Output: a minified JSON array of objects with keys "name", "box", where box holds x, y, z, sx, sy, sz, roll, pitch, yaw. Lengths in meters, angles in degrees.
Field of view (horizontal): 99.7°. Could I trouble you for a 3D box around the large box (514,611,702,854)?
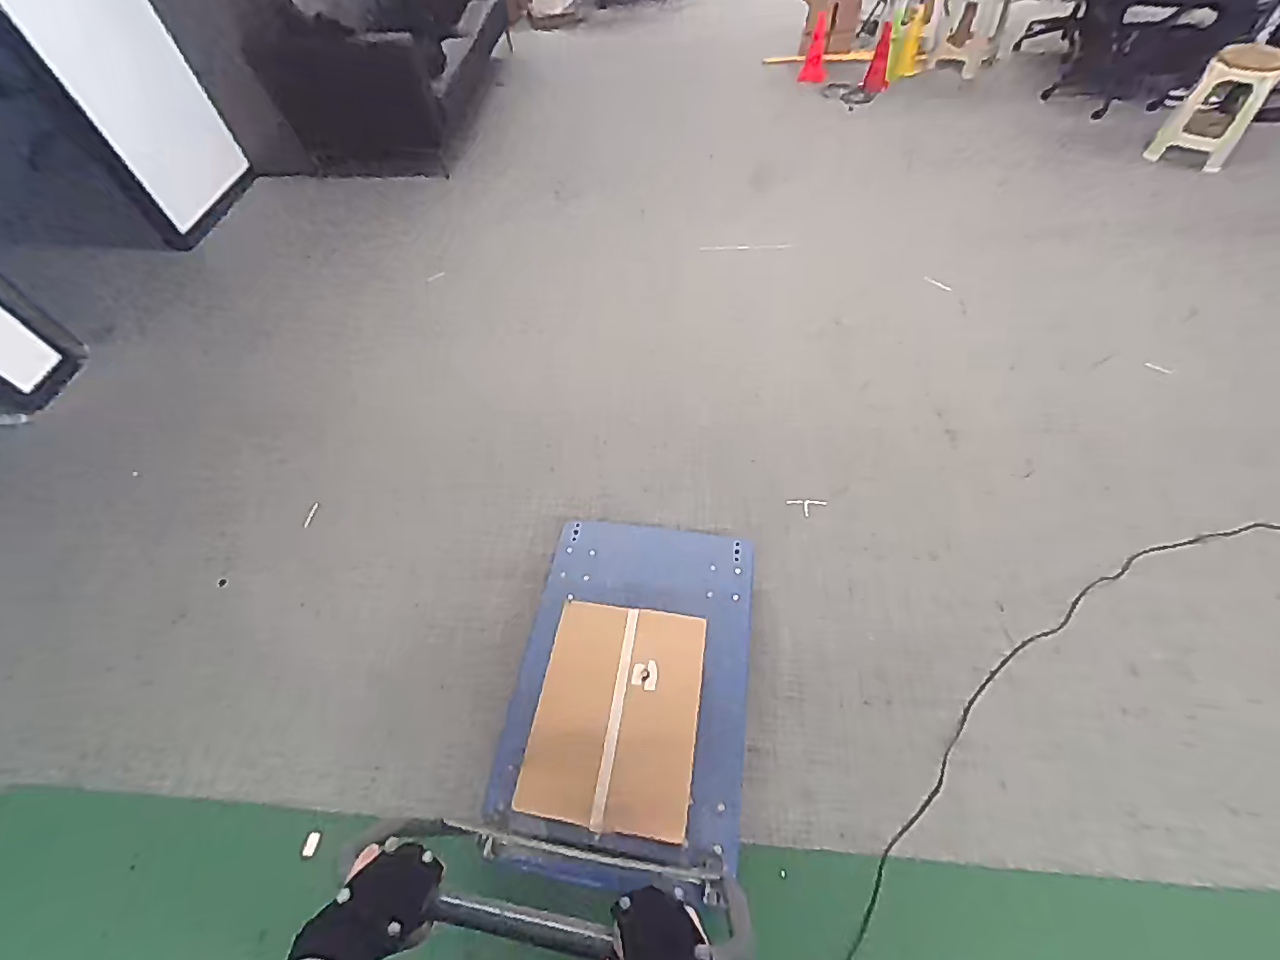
[{"name":"large box","box":[-0.038,0.548,1.177,0.320,0.320,0.408,6,55,8]}]
